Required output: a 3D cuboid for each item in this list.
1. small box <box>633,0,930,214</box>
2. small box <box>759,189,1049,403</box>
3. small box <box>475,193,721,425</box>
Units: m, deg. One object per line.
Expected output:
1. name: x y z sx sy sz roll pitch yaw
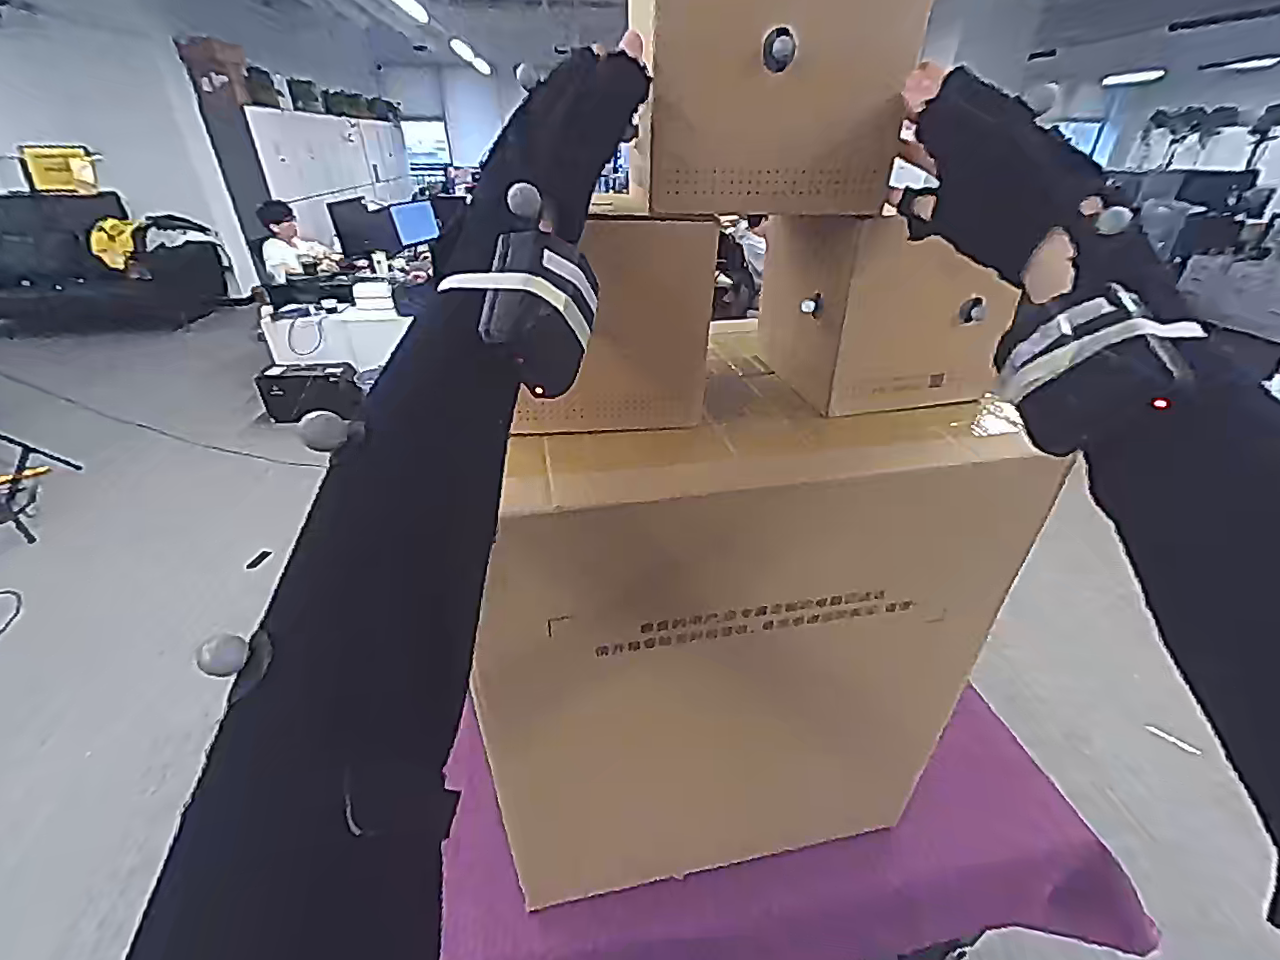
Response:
1. small box: 0.088 -0.304 0.411 0.179 0.176 0.168 -3 32 -5
2. small box: 0.229 -0.179 0.523 0.168 0.176 0.179 -6 31 -10
3. small box: -0.039 -0.155 0.481 0.179 0.176 0.168 -3 32 -9
